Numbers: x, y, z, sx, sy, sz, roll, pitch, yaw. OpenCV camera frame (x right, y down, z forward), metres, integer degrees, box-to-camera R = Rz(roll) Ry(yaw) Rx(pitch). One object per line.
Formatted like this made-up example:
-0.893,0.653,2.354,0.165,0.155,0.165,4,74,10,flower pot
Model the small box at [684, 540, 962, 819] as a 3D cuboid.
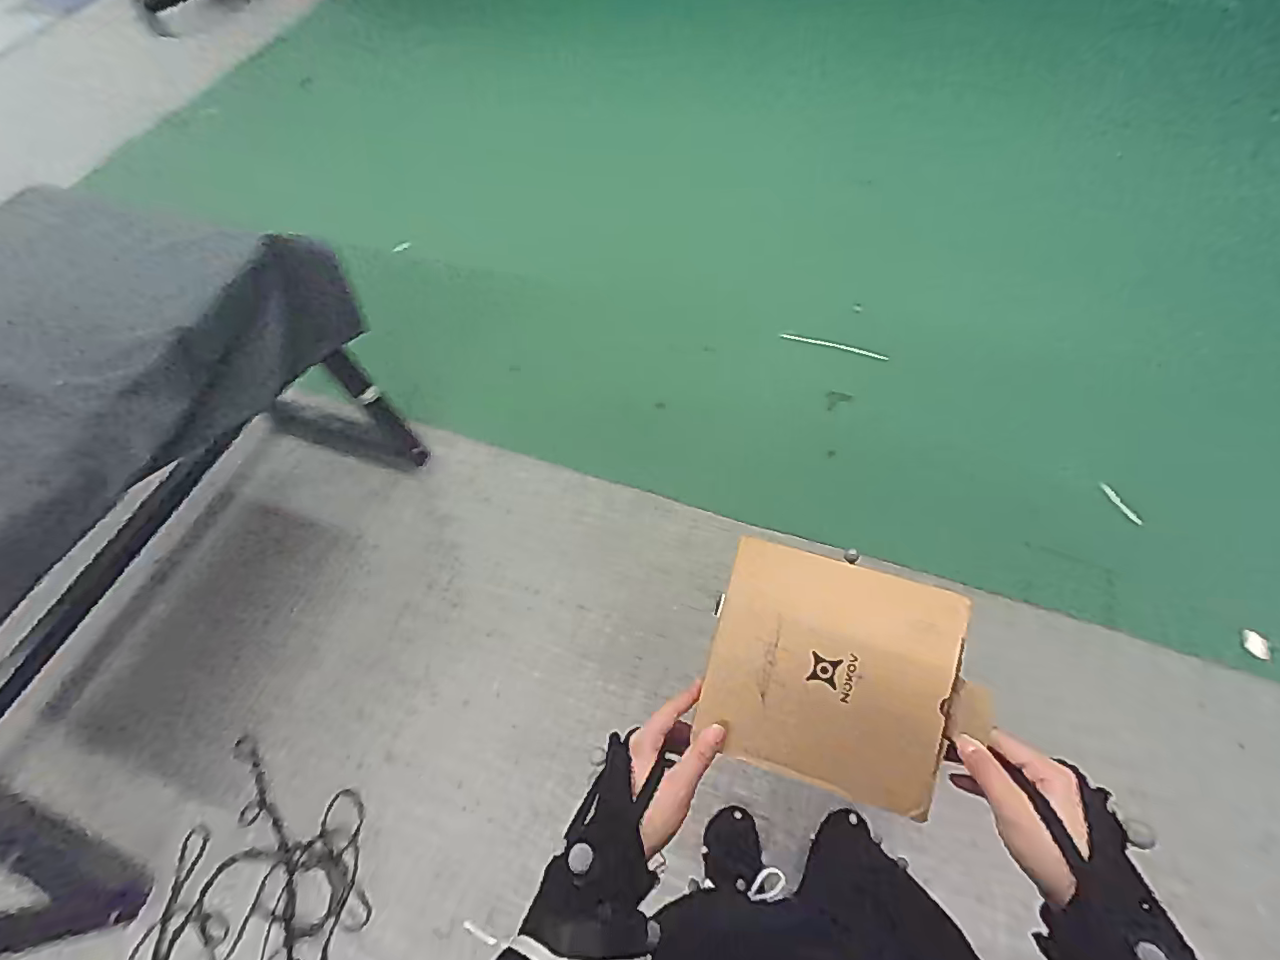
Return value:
0.146,0.154,0.479,0.179,0.176,0.168,12,82,11,small box
